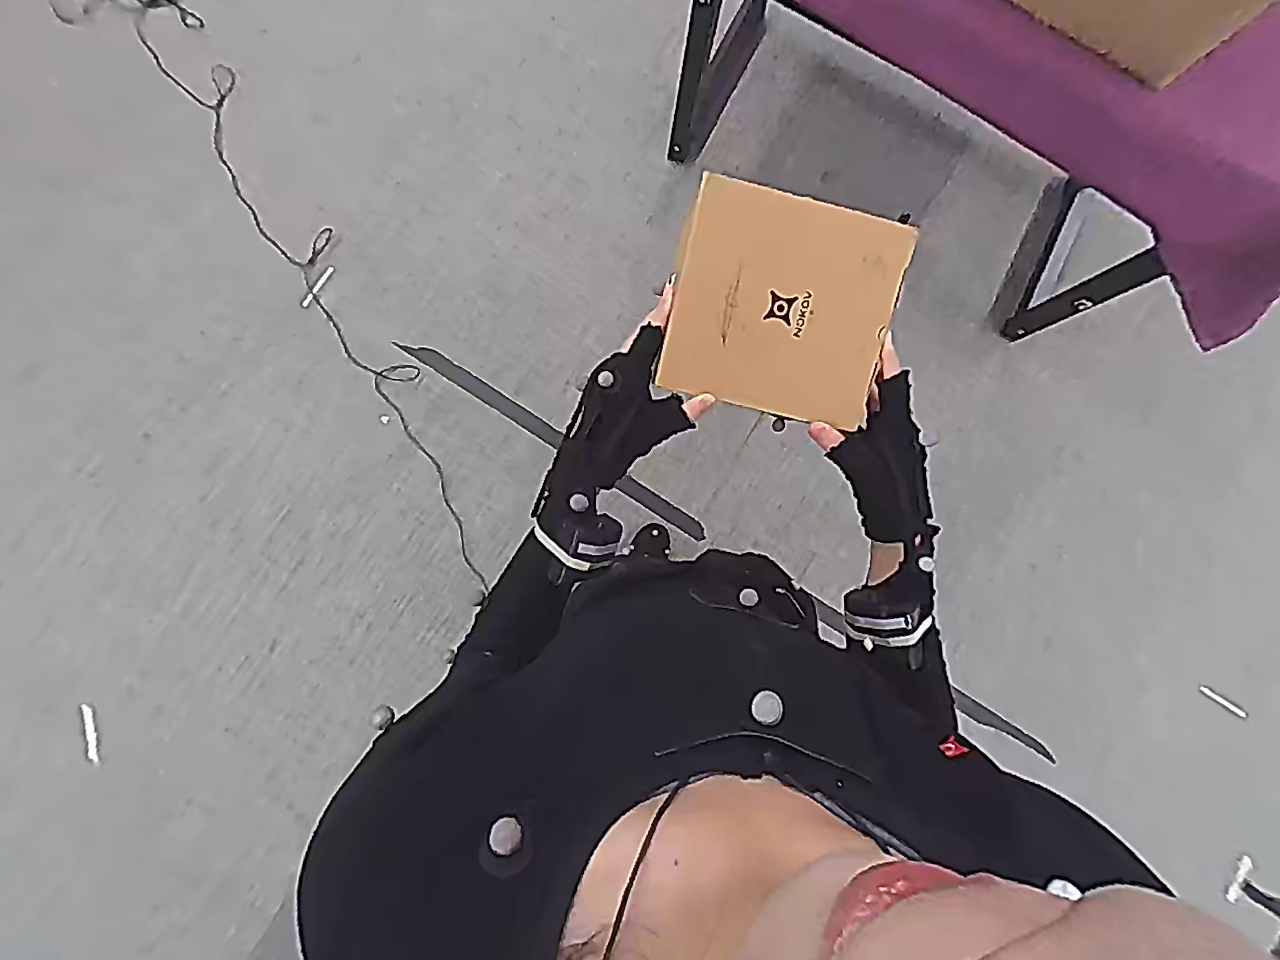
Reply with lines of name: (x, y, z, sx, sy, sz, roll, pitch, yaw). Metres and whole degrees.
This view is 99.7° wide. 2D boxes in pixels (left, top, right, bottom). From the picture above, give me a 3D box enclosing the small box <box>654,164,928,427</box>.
small box: (0.117, -0.154, 0.498, 0.179, 0.176, 0.168, 12, 100, -3)
